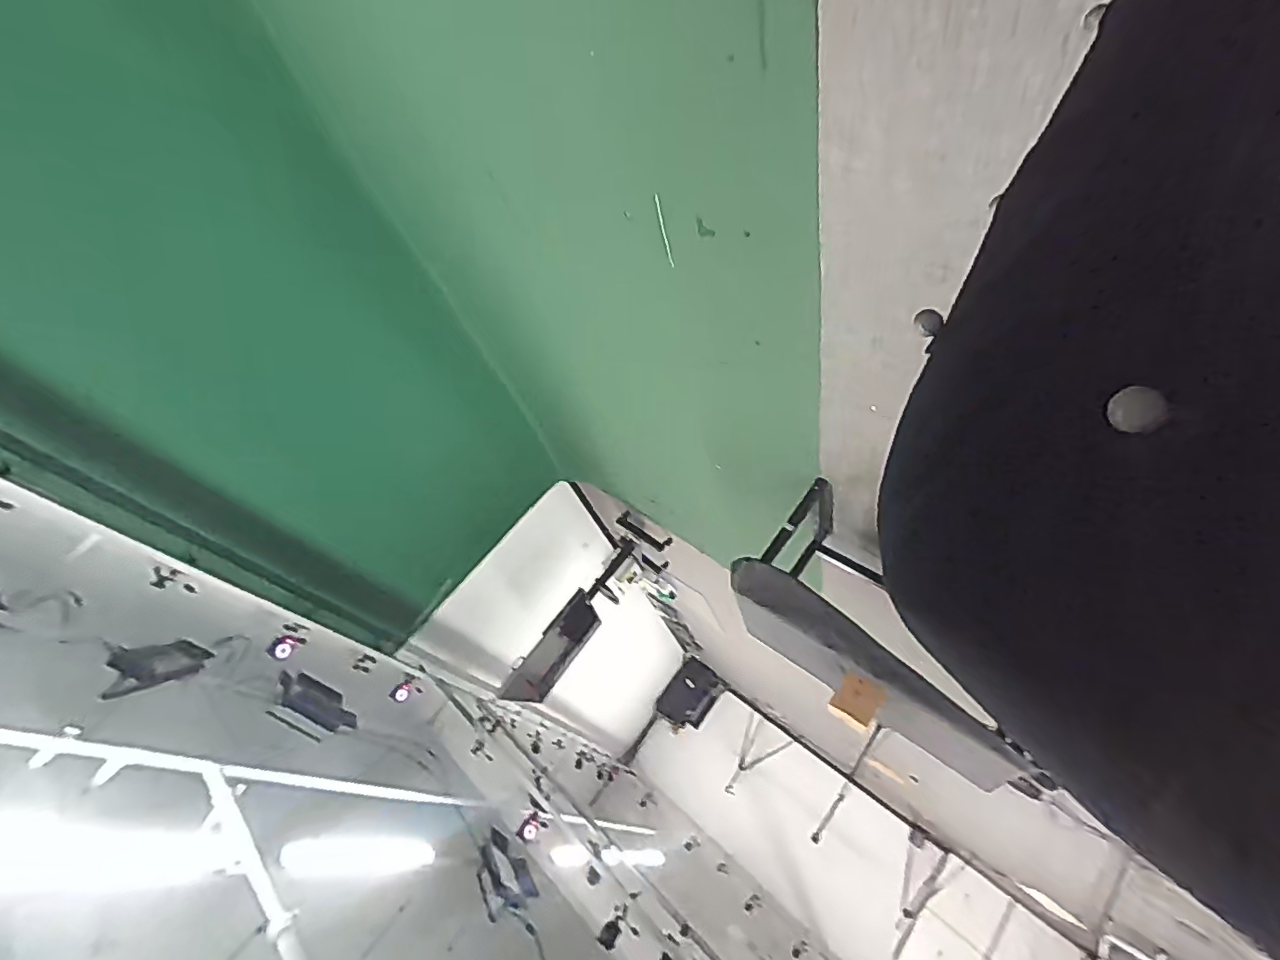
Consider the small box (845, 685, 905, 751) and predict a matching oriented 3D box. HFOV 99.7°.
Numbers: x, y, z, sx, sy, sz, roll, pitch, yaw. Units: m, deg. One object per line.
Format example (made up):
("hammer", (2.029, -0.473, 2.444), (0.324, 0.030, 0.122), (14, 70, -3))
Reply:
("small box", (0.957, 0.967, 2.202), (0.168, 0.176, 0.179), (30, 160, 34))
